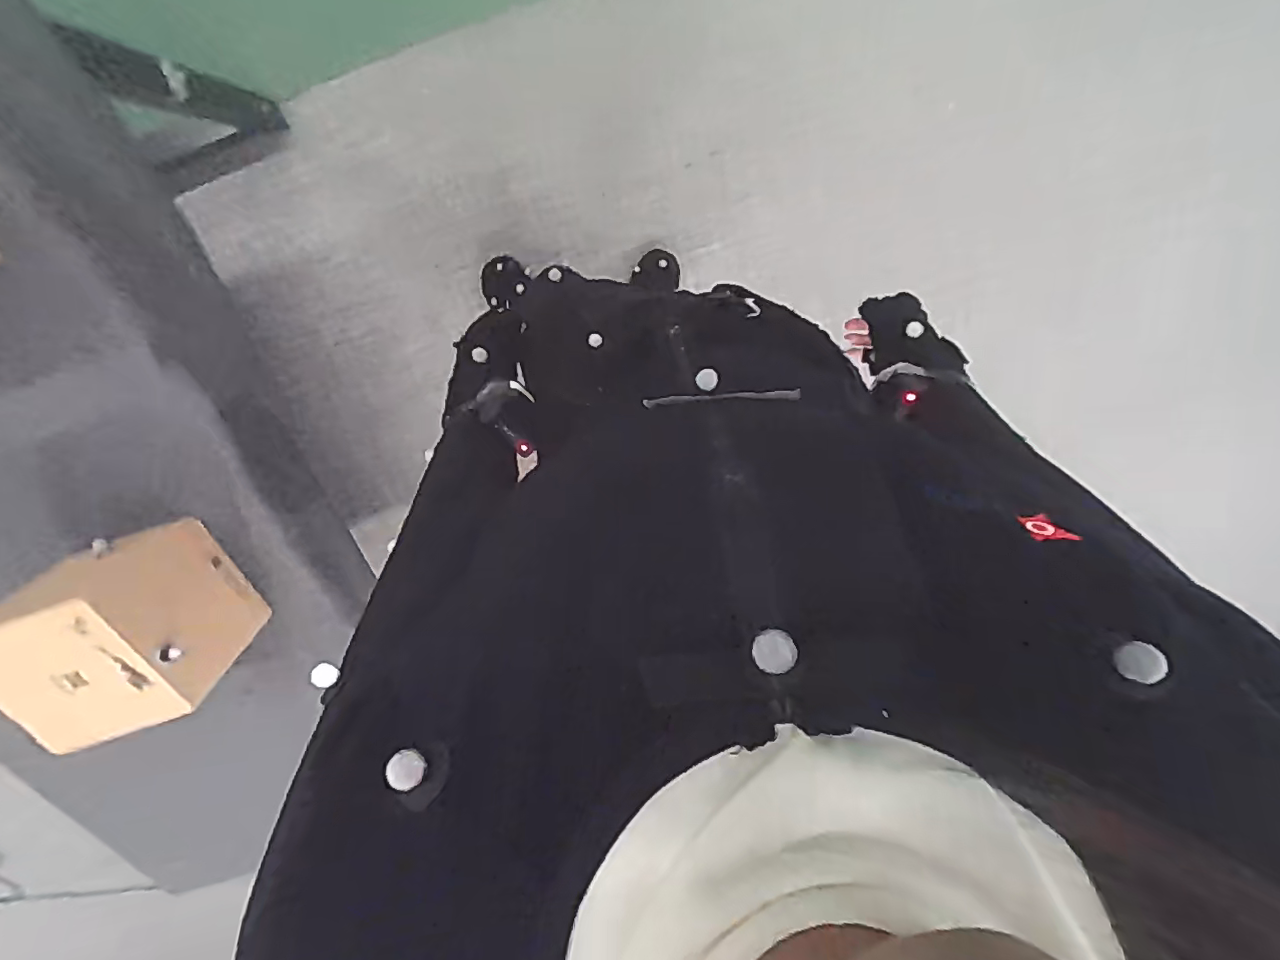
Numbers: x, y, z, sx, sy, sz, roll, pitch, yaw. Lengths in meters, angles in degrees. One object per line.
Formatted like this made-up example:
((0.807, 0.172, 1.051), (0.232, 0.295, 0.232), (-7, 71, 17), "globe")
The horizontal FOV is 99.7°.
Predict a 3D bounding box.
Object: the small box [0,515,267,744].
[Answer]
((-0.599, 0.167, 0.634), (0.179, 0.176, 0.168), (-18, 117, 5), "small box")
